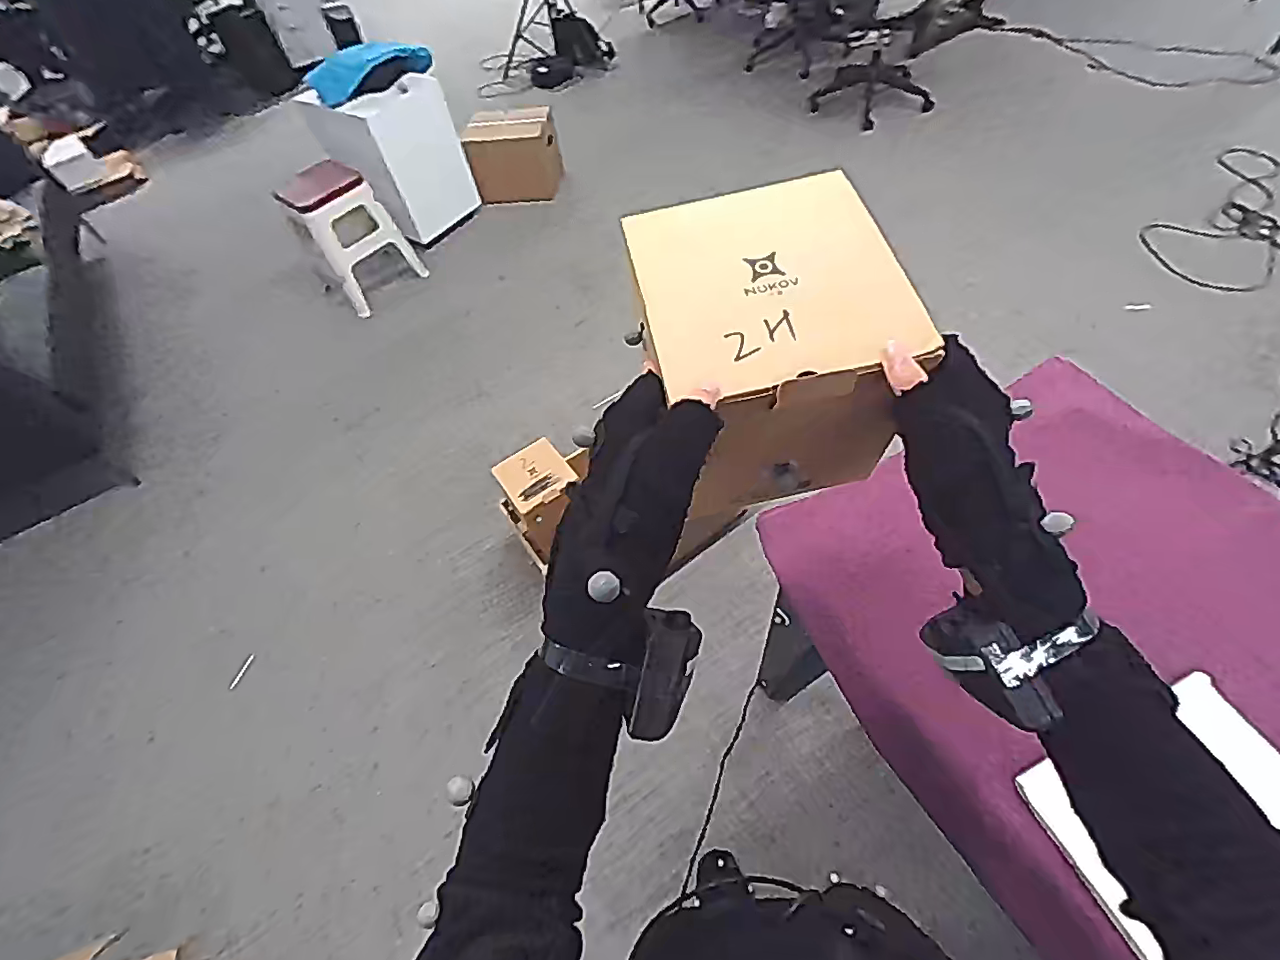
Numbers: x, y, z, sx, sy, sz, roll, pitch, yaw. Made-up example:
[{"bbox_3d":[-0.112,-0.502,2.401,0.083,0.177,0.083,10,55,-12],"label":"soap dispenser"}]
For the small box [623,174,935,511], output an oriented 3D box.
[{"bbox_3d":[0.086,-0.098,0.426,0.168,0.176,0.179,-12,63,0],"label":"small box"}]
